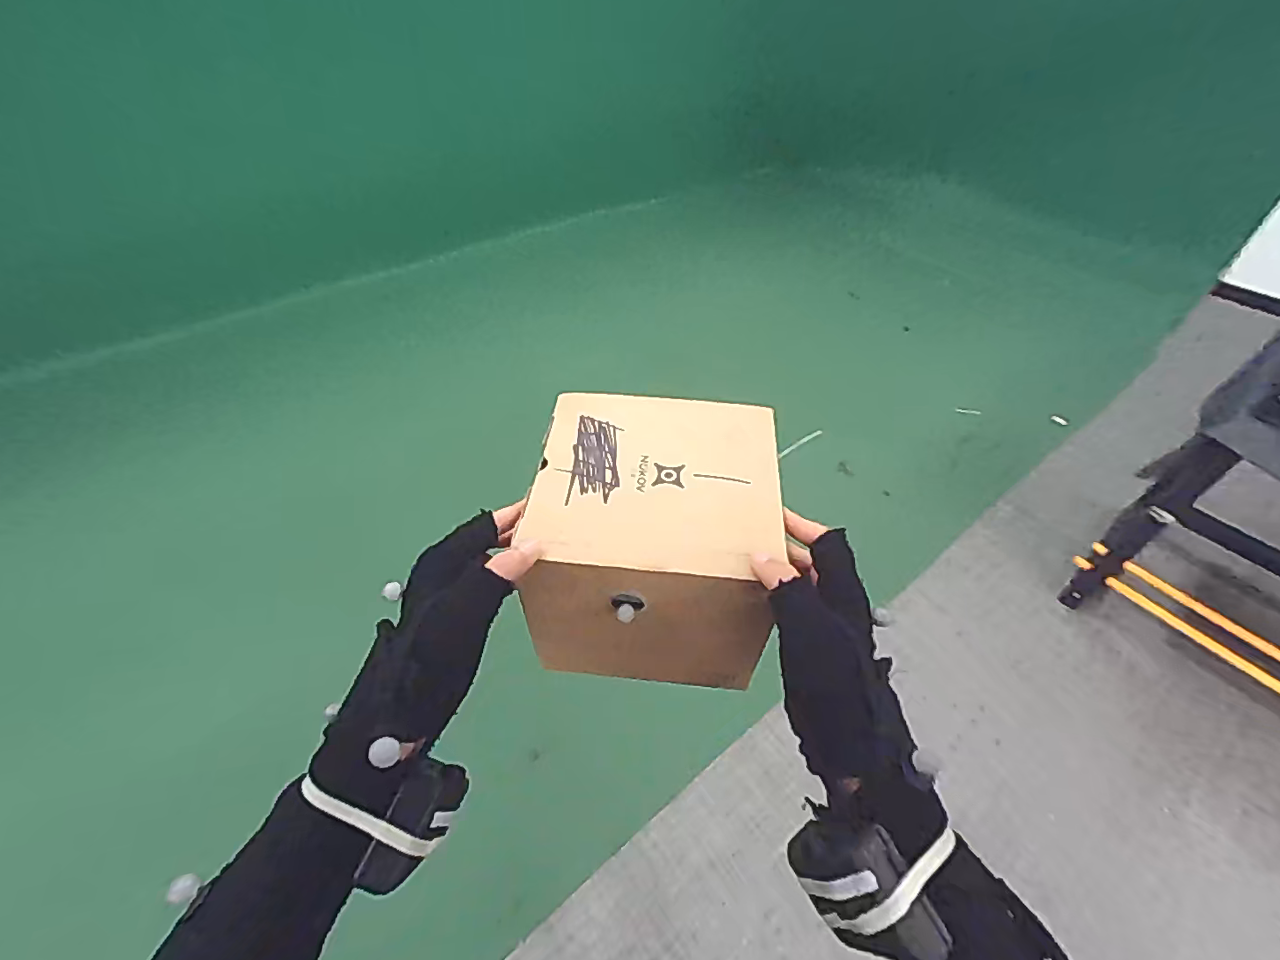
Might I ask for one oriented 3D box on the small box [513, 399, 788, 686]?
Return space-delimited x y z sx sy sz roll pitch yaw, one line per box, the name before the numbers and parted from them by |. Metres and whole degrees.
small box | 0.014 0.054 0.446 0.179 0.176 0.168 5 48 4
